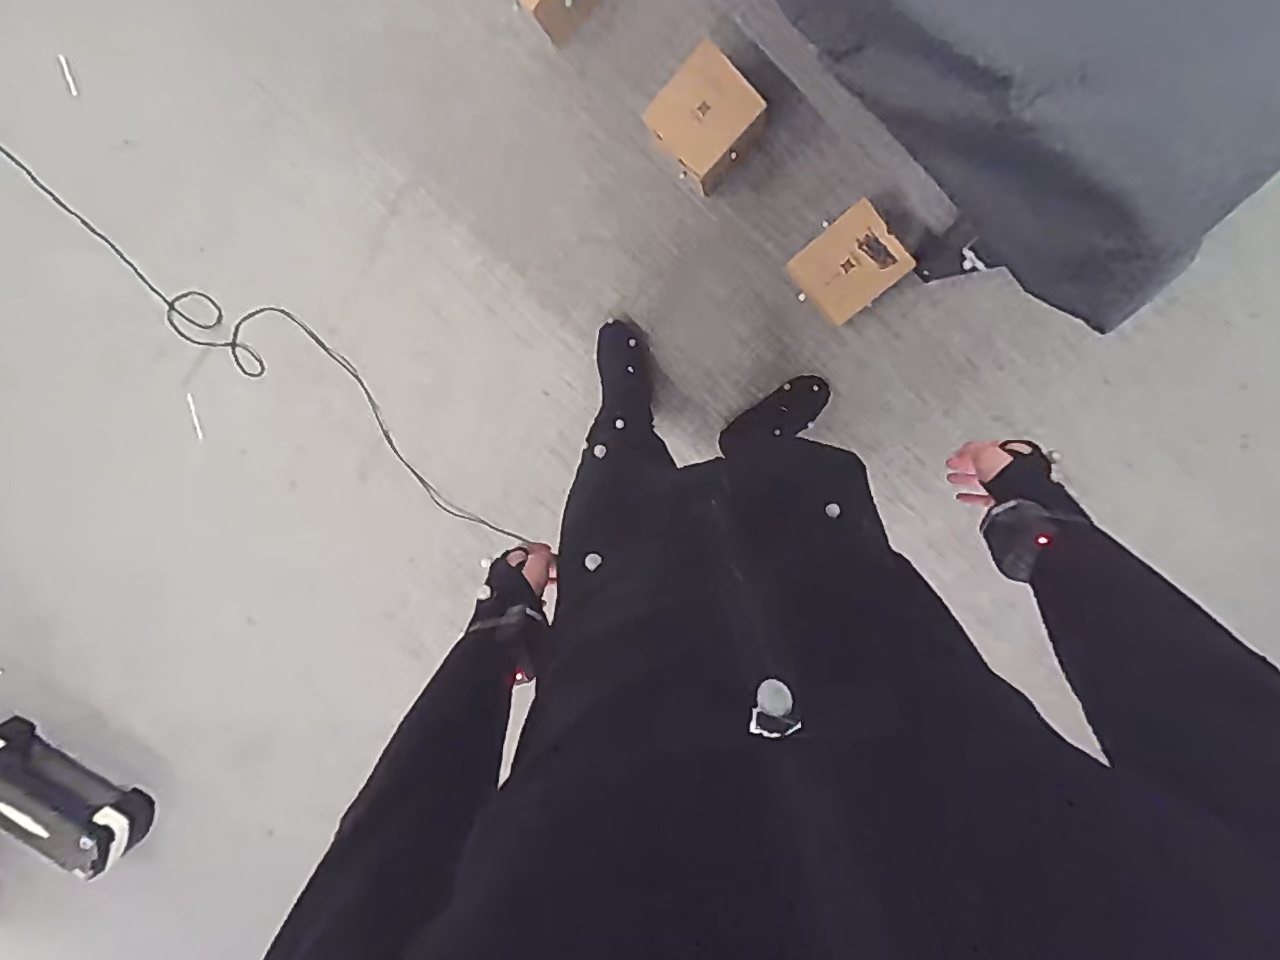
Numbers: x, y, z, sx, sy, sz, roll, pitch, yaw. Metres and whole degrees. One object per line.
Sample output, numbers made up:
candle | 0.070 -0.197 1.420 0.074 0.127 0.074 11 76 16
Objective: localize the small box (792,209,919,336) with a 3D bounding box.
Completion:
small box | 0.432 -0.420 1.119 0.179 0.176 0.168 -41 94 20

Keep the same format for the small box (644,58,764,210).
small box | 0.136 -0.693 1.112 0.168 0.176 0.179 44 107 -4
